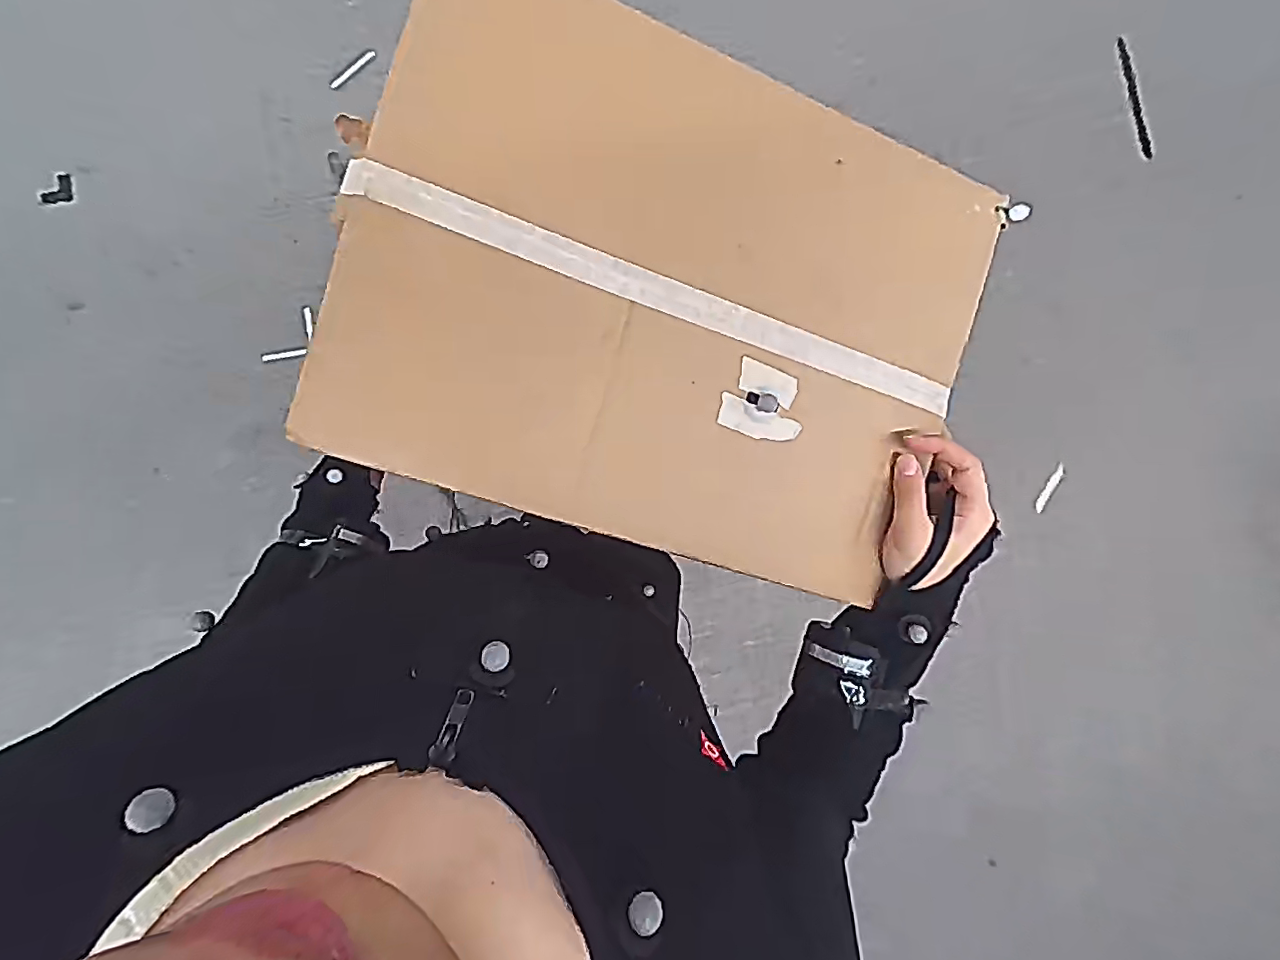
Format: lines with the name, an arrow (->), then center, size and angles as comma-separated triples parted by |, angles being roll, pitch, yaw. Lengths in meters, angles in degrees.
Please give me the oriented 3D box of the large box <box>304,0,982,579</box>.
large box -> -0.005, -0.132, 0.500 | 0.408, 0.320, 0.320 | 16, 91, -14
